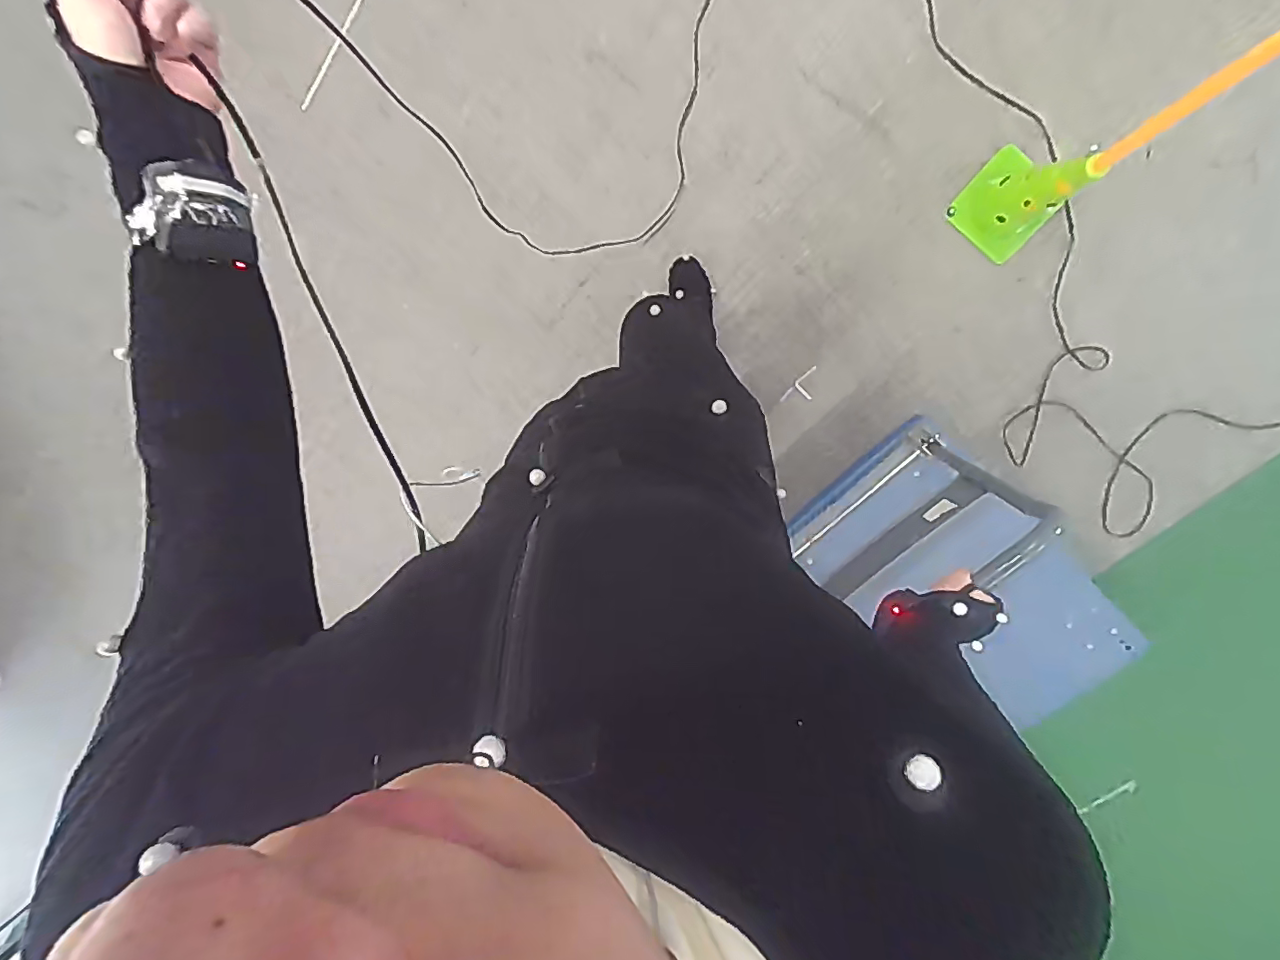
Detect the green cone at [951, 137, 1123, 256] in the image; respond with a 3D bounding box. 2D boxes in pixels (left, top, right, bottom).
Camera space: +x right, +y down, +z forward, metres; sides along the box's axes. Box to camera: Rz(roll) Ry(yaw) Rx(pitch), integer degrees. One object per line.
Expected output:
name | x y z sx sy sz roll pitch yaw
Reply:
green cone | 0.854 -0.624 1.124 0.200 0.368 0.202 39 107 -4
